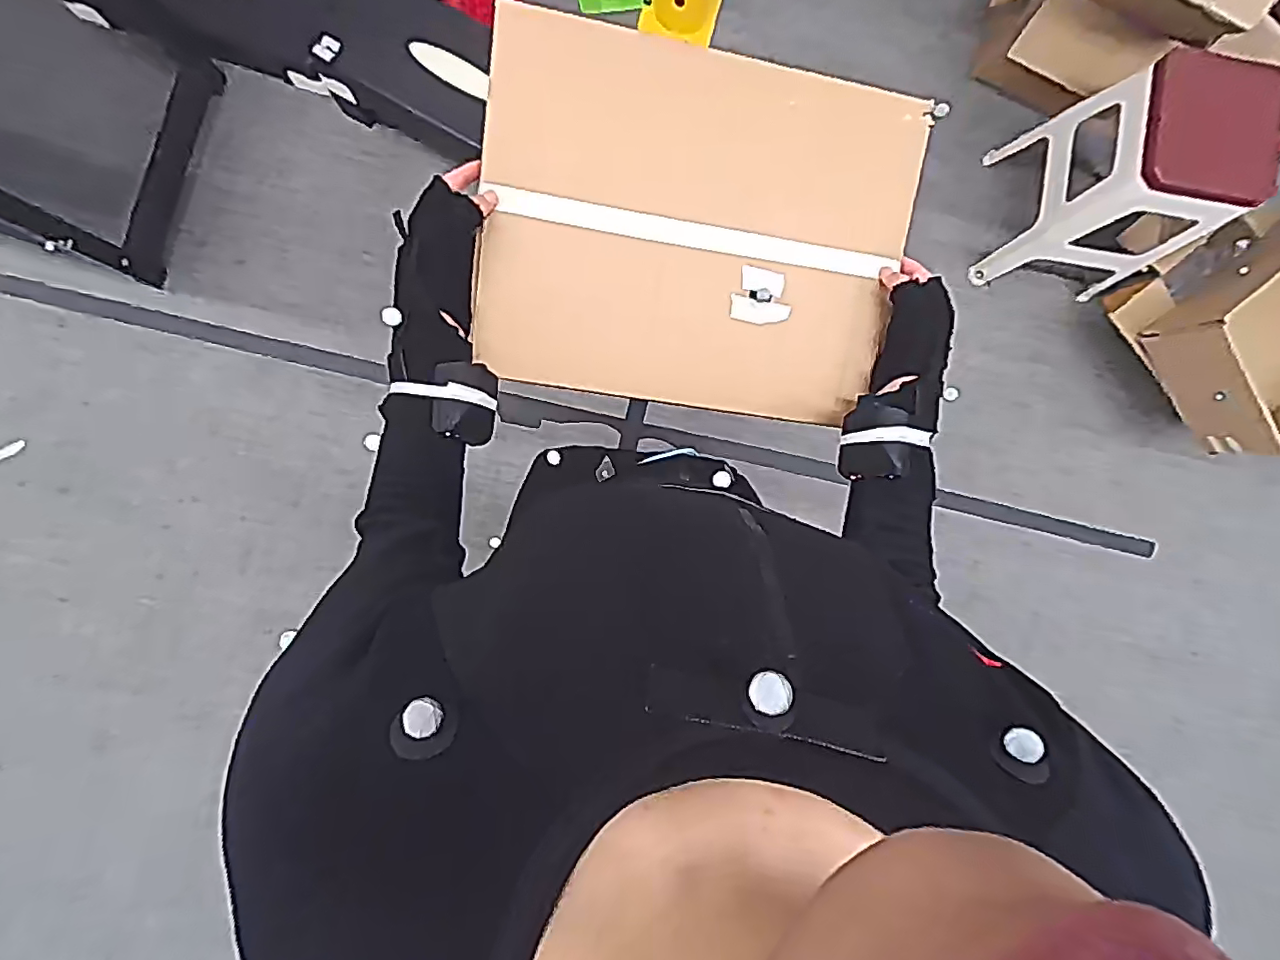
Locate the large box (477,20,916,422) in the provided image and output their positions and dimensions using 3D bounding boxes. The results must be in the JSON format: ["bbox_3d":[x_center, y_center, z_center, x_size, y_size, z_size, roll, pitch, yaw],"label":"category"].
[{"bbox_3d":[0.037,-0.260,0.669,0.408,0.320,0.320,8,101,-9],"label":"large box"}]
